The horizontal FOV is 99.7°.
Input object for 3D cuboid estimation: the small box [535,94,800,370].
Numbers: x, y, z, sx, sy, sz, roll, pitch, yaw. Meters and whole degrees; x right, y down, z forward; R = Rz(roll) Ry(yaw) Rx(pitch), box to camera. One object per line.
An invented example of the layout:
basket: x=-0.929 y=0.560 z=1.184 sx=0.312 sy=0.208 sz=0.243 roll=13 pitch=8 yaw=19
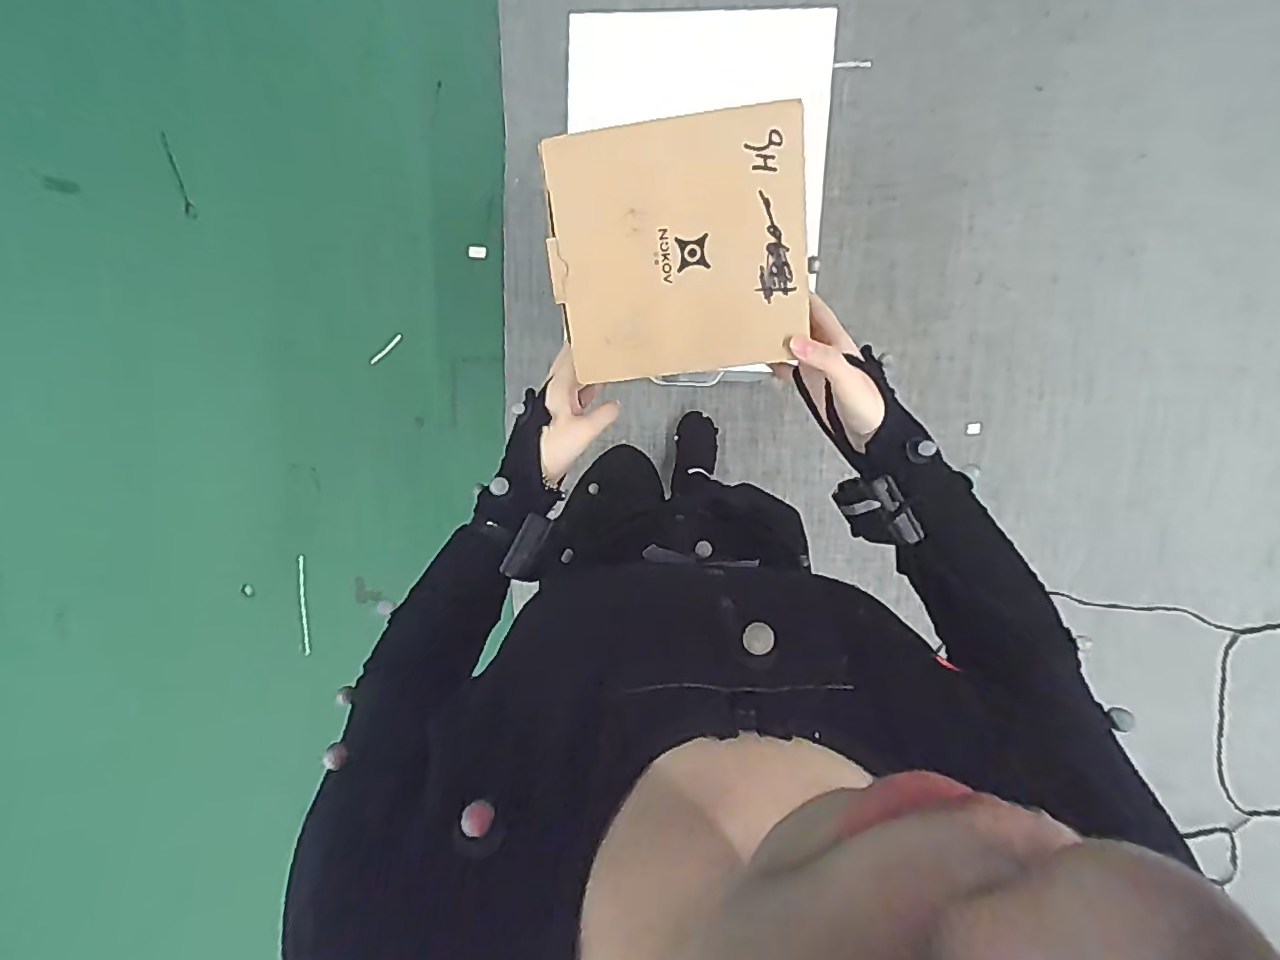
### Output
small box: x=0.028 y=-0.186 z=0.453 sx=0.179 sy=0.176 sz=0.168 roll=-5 pitch=106 yaw=5
